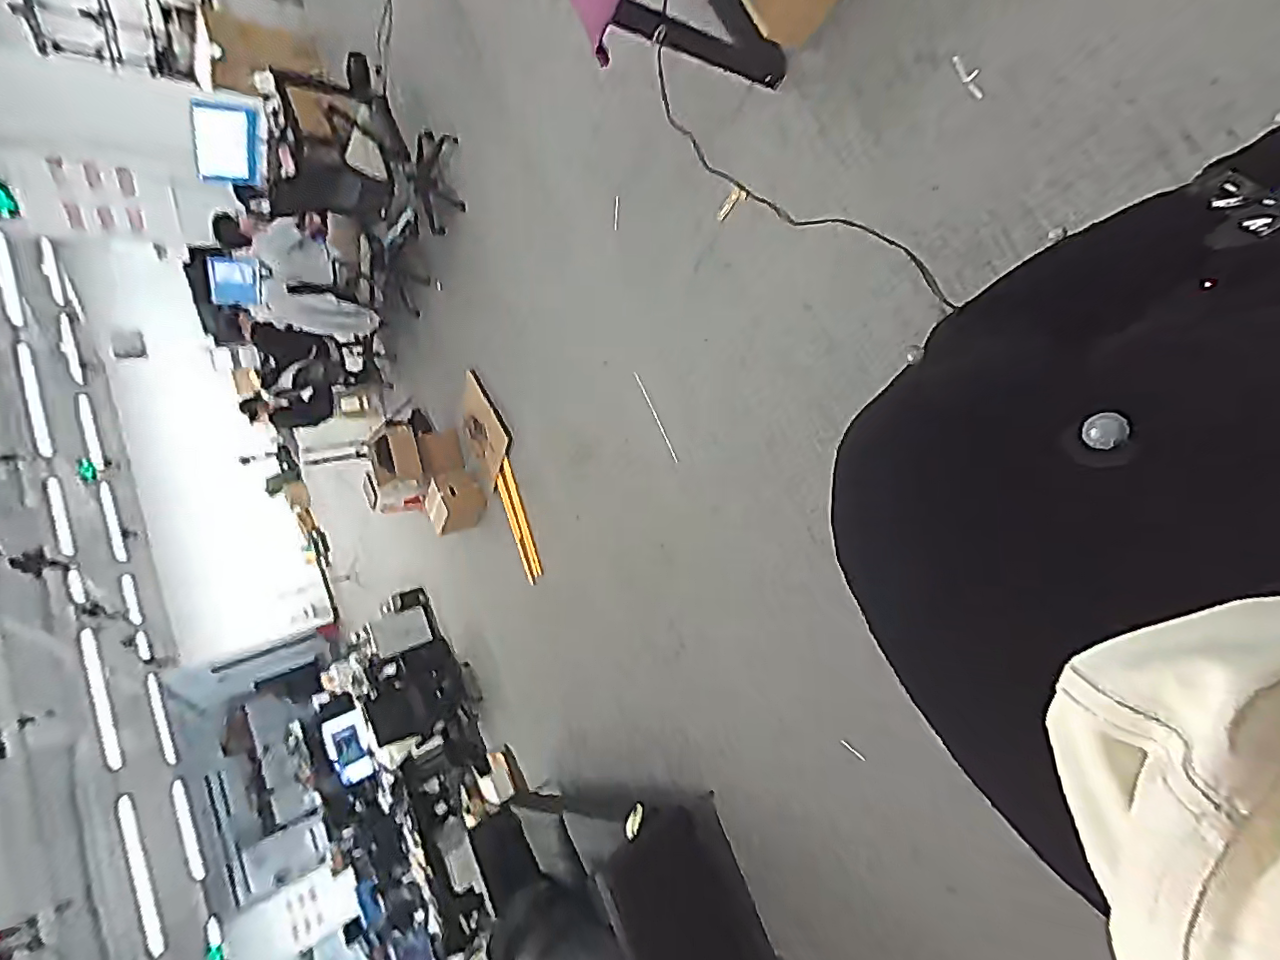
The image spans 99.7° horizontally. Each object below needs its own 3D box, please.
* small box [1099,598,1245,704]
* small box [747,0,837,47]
[{"bbox_3d":[1.192,0.382,1.212,0.179,0.176,0.168,-37,74,50],"label":"small box"},{"bbox_3d":[0.440,-1.395,1.546,0.179,0.176,0.168,-38,73,49],"label":"small box"}]
